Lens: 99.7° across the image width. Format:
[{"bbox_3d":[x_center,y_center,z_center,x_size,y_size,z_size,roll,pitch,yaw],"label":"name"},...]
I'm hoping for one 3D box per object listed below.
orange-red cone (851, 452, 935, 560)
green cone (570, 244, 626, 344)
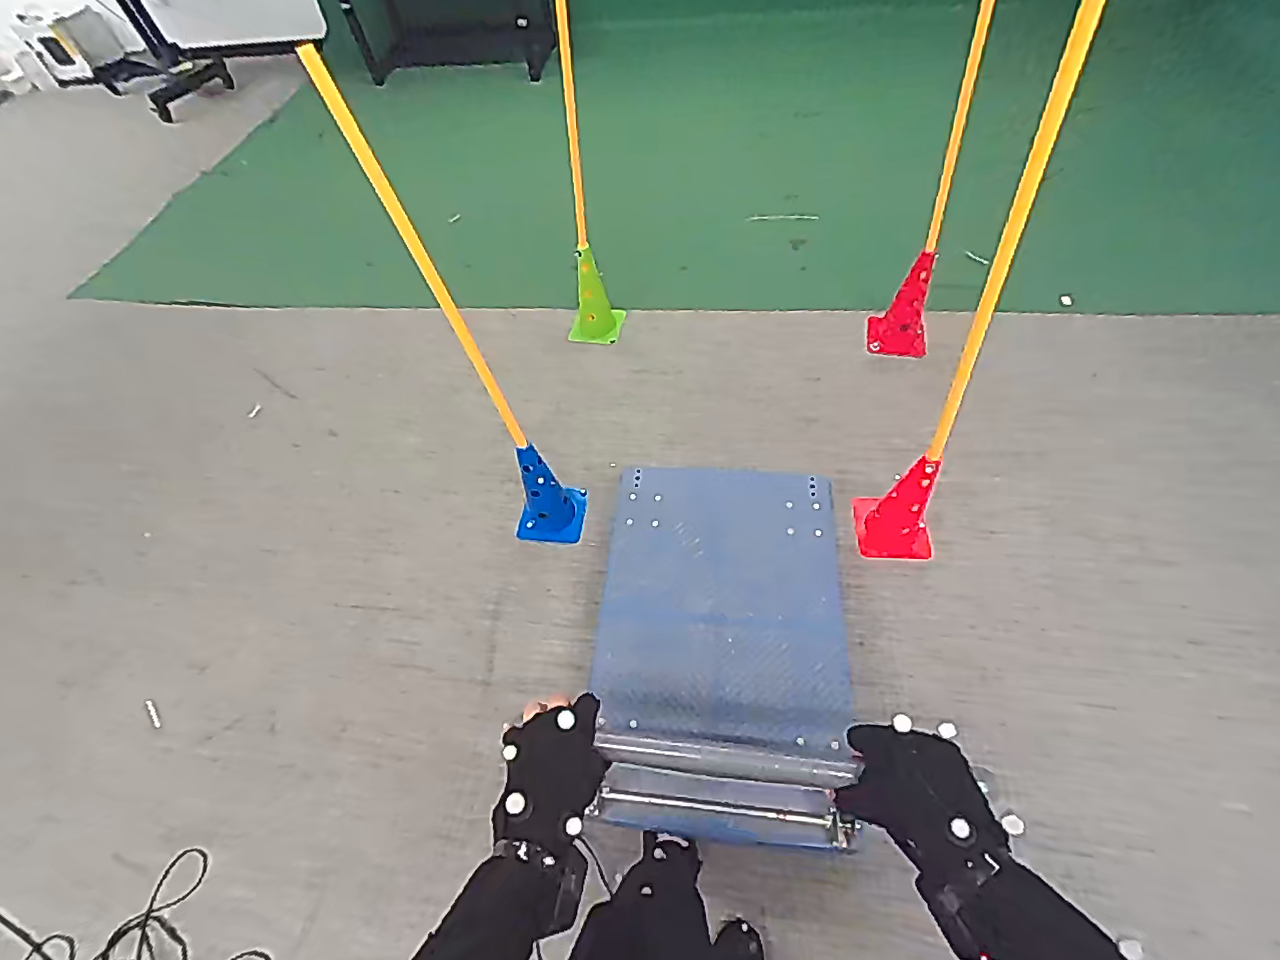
[{"bbox_3d":[0.709,0.047,1.444,0.199,0.360,0.198,2,56,9],"label":"orange-red cone"},{"bbox_3d":[-0.183,-0.718,2.045,0.202,0.368,0.200,7,56,11],"label":"green cone"}]
